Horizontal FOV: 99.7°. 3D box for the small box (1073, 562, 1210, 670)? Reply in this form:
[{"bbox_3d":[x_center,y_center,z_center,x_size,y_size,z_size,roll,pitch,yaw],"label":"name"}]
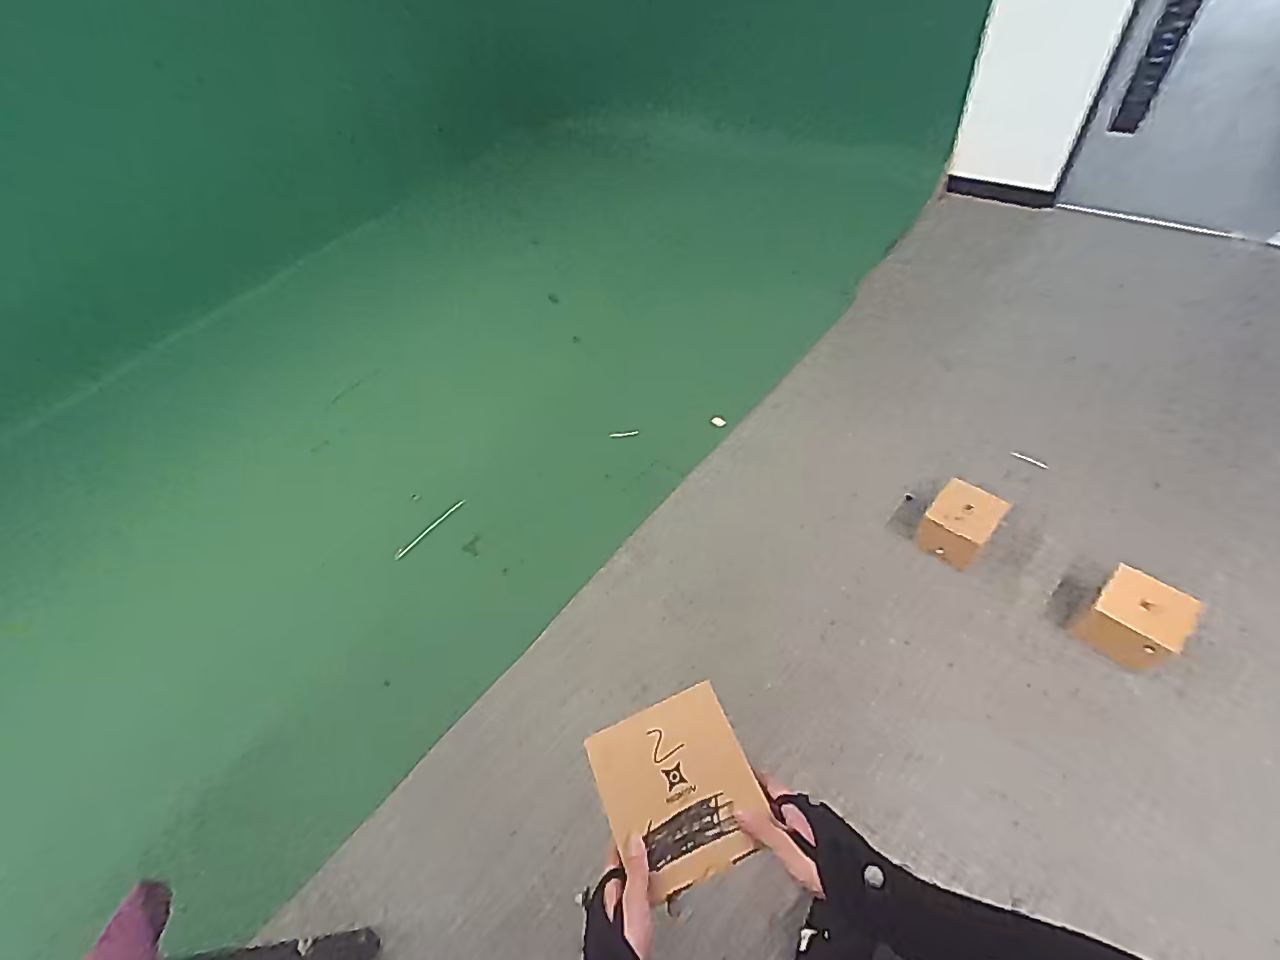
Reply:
[{"bbox_3d":[1.244,0.345,1.355,0.179,0.176,0.168,35,69,31],"label":"small box"}]

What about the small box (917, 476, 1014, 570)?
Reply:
[{"bbox_3d":[0.942,0.128,1.580,0.168,0.176,0.179,34,68,31],"label":"small box"}]
